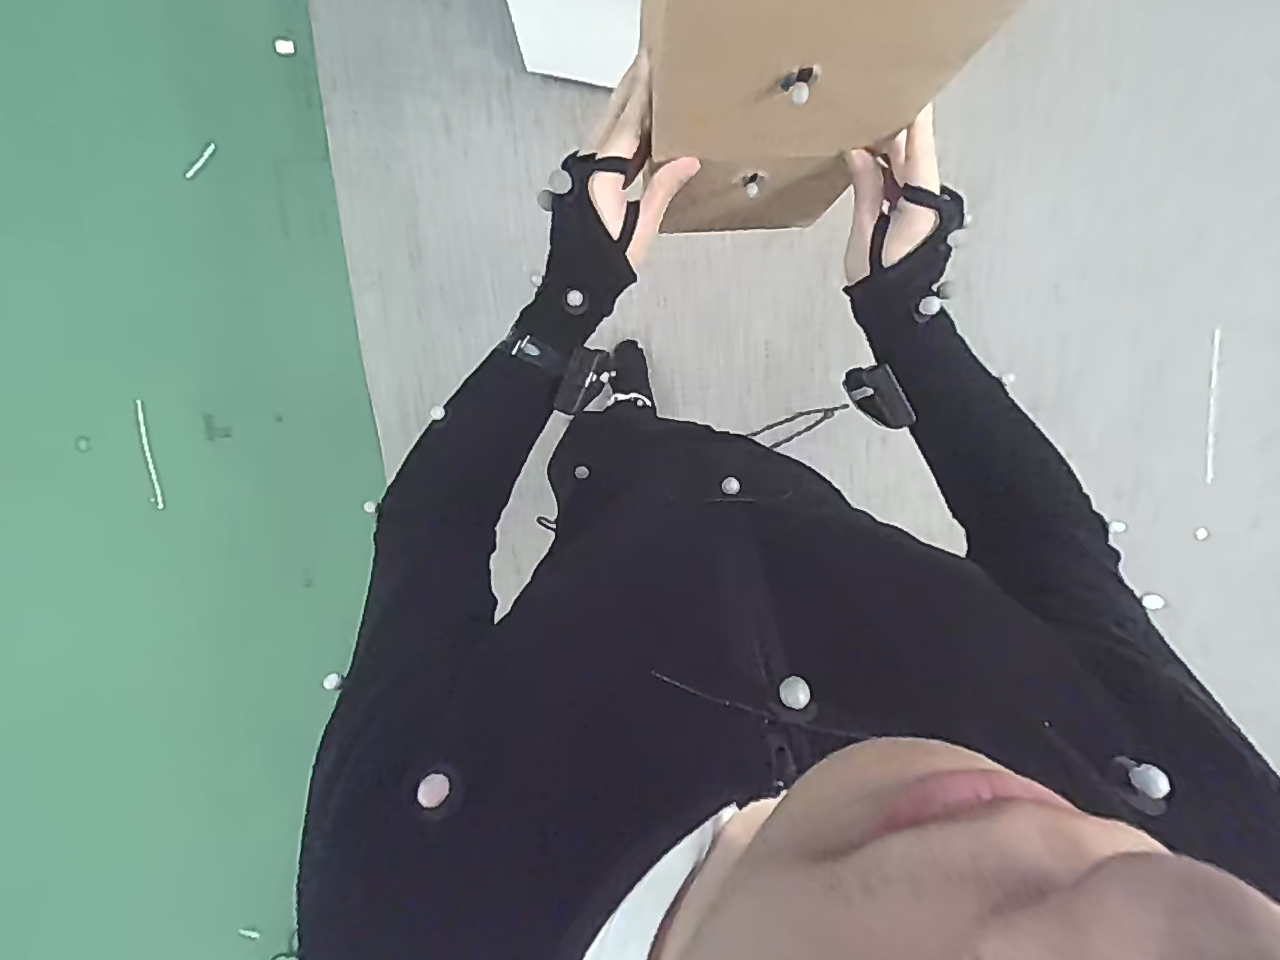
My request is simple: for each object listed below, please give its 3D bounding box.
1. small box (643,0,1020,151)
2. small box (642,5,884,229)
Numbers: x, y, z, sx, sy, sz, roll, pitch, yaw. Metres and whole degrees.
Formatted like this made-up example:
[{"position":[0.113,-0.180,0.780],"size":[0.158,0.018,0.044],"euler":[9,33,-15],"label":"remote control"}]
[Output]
[{"position":[0.092,-0.313,0.307],"size":[0.179,0.176,0.168],"euler":[-3,97,0],"label":"small box"},{"position":[0.090,-0.332,0.470],"size":[0.179,0.176,0.168],"euler":[-2,96,-1],"label":"small box"}]
